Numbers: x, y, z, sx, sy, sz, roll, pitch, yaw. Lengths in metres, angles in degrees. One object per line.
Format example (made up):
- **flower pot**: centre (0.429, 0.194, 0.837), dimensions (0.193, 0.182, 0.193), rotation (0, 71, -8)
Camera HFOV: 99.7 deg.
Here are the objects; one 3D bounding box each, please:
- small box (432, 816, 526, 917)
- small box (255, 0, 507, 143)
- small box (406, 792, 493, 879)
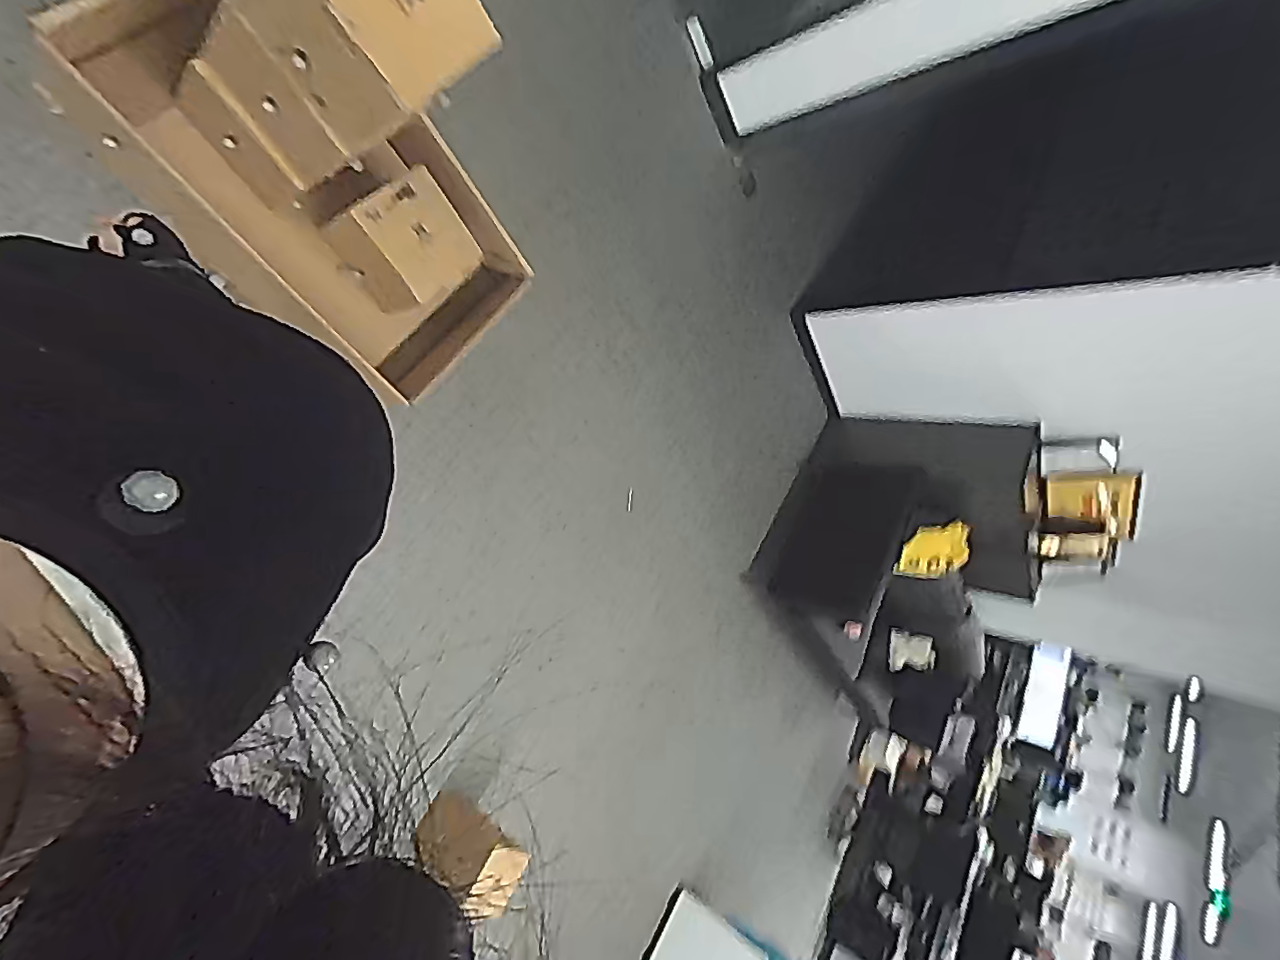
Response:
- **small box**: centre (-0.480, 1.140, 1.603), dimensions (0.179, 0.176, 0.168), rotation (-57, 131, -23)
- **small box**: centre (-0.299, -0.534, 0.626), dimensions (0.179, 0.176, 0.168), rotation (-56, 132, -22)
- **small box**: centre (-0.604, 1.128, 1.712), dimensions (0.179, 0.176, 0.168), rotation (-57, 132, -22)
